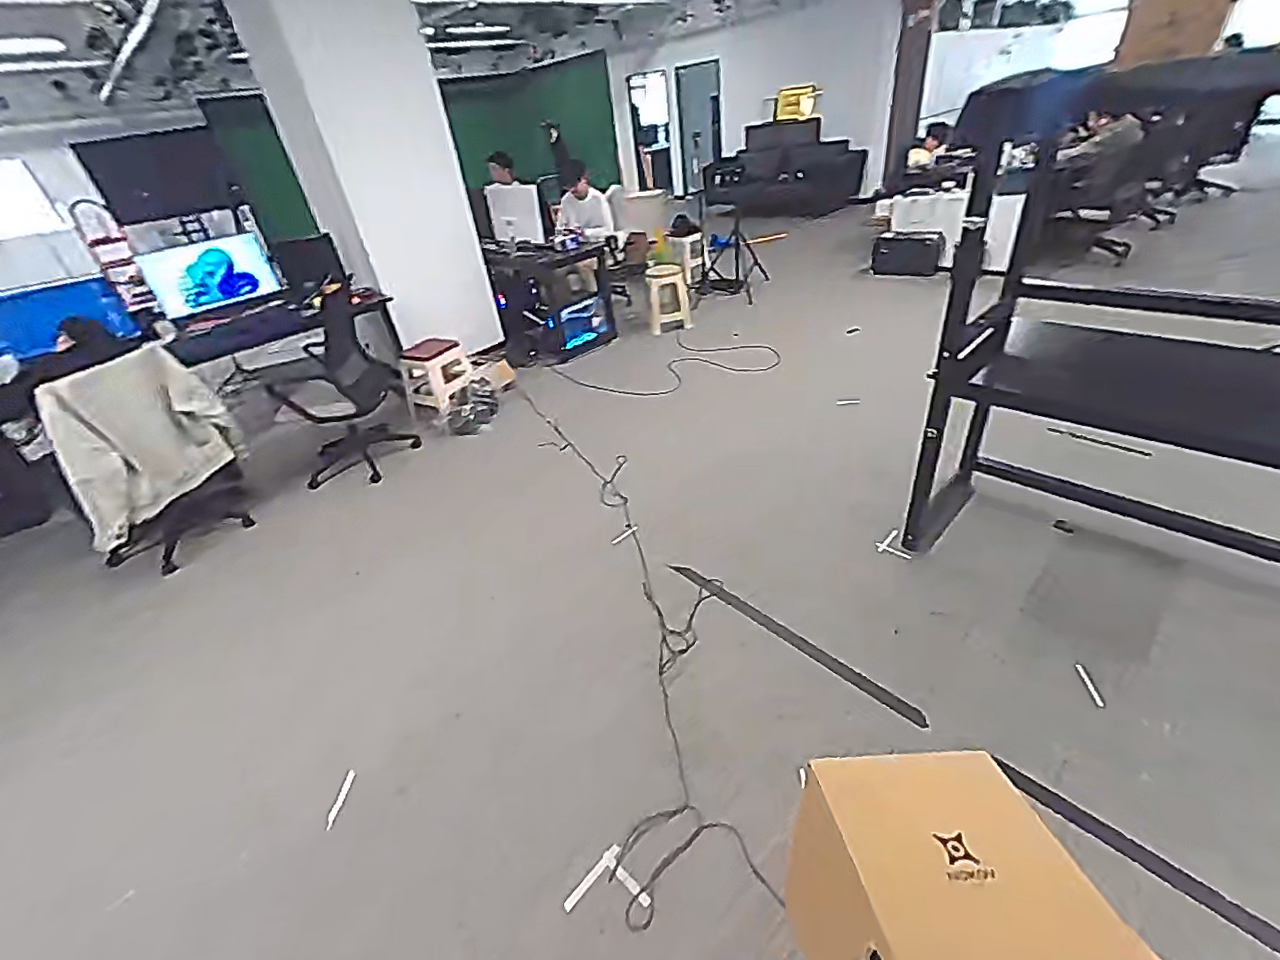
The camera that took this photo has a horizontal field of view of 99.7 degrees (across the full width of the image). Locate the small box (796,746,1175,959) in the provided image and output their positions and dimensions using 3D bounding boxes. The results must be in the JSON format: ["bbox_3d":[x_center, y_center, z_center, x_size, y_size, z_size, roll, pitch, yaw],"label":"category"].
[{"bbox_3d":[0.233,0.339,0.415,0.168,0.176,0.179,0,22,-5],"label":"small box"}]

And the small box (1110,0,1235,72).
[{"bbox_3d":[1.127,-0.975,1.136,0.168,0.176,0.179,23,44,36],"label":"small box"}]
